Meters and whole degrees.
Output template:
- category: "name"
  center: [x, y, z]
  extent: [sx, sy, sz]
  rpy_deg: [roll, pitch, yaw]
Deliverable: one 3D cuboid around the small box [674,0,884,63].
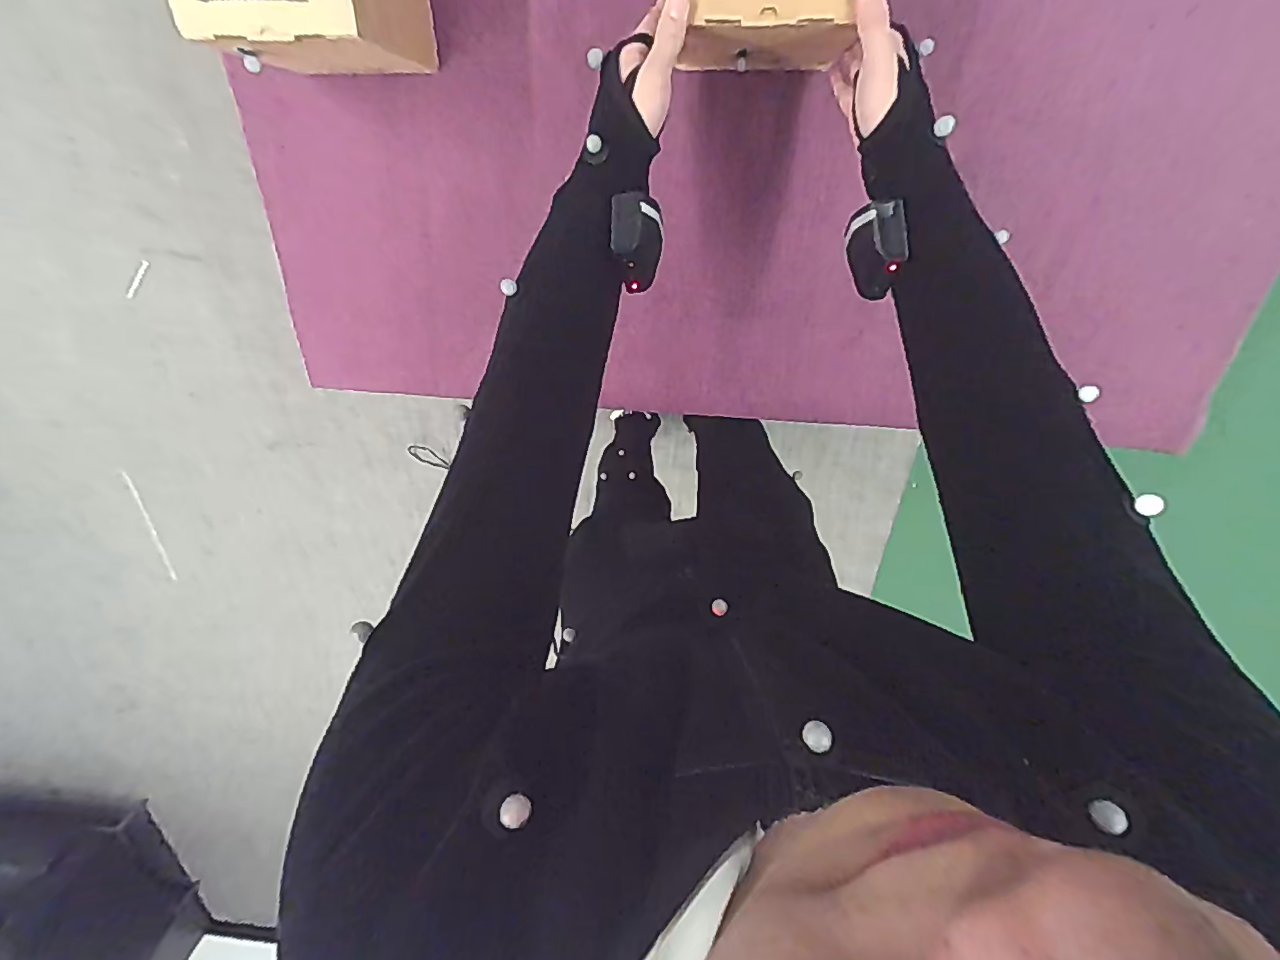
- category: "small box"
  center: [0.115, -0.479, 0.455]
  extent: [0.168, 0.176, 0.179]
  rpy_deg: [3, 119, 4]
